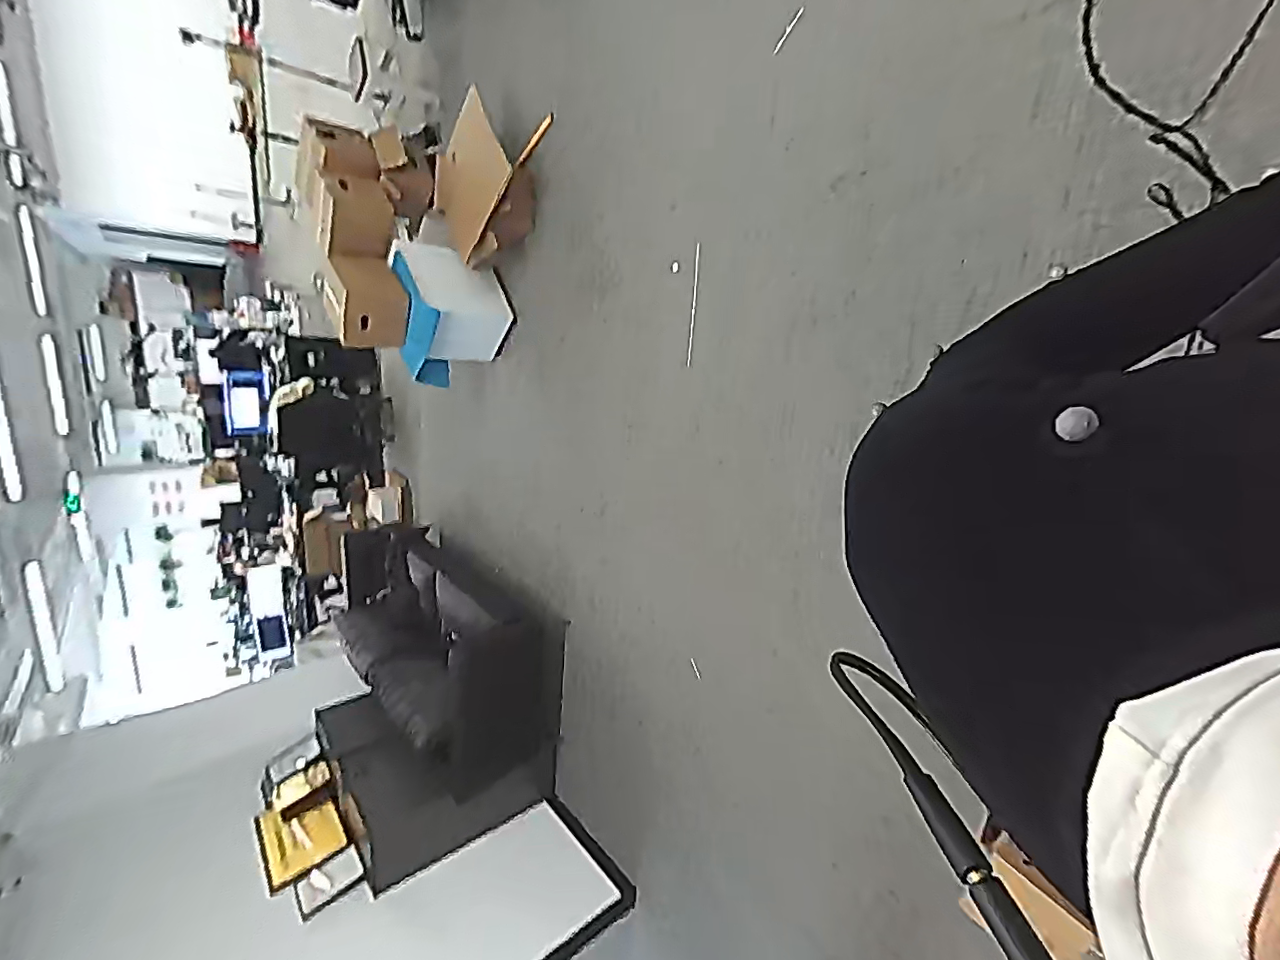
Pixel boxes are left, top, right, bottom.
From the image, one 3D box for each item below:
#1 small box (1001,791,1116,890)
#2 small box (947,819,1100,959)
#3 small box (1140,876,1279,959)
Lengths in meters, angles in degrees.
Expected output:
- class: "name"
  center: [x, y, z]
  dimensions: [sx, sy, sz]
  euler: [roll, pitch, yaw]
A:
- class: "small box"
  center: [0.890, 0.820, 1.180]
  dimensions: [0.179, 0.176, 0.168]
  euler: [26, 113, 44]
- class: "small box"
  center: [0.761, 0.817, 1.075]
  dimensions: [0.179, 0.176, 0.168]
  euler: [35, 119, 41]
- class: "small box"
  center: [1.058, 0.896, 1.001]
  dimensions: [0.168, 0.176, 0.179]
  euler: [20, 110, 48]
